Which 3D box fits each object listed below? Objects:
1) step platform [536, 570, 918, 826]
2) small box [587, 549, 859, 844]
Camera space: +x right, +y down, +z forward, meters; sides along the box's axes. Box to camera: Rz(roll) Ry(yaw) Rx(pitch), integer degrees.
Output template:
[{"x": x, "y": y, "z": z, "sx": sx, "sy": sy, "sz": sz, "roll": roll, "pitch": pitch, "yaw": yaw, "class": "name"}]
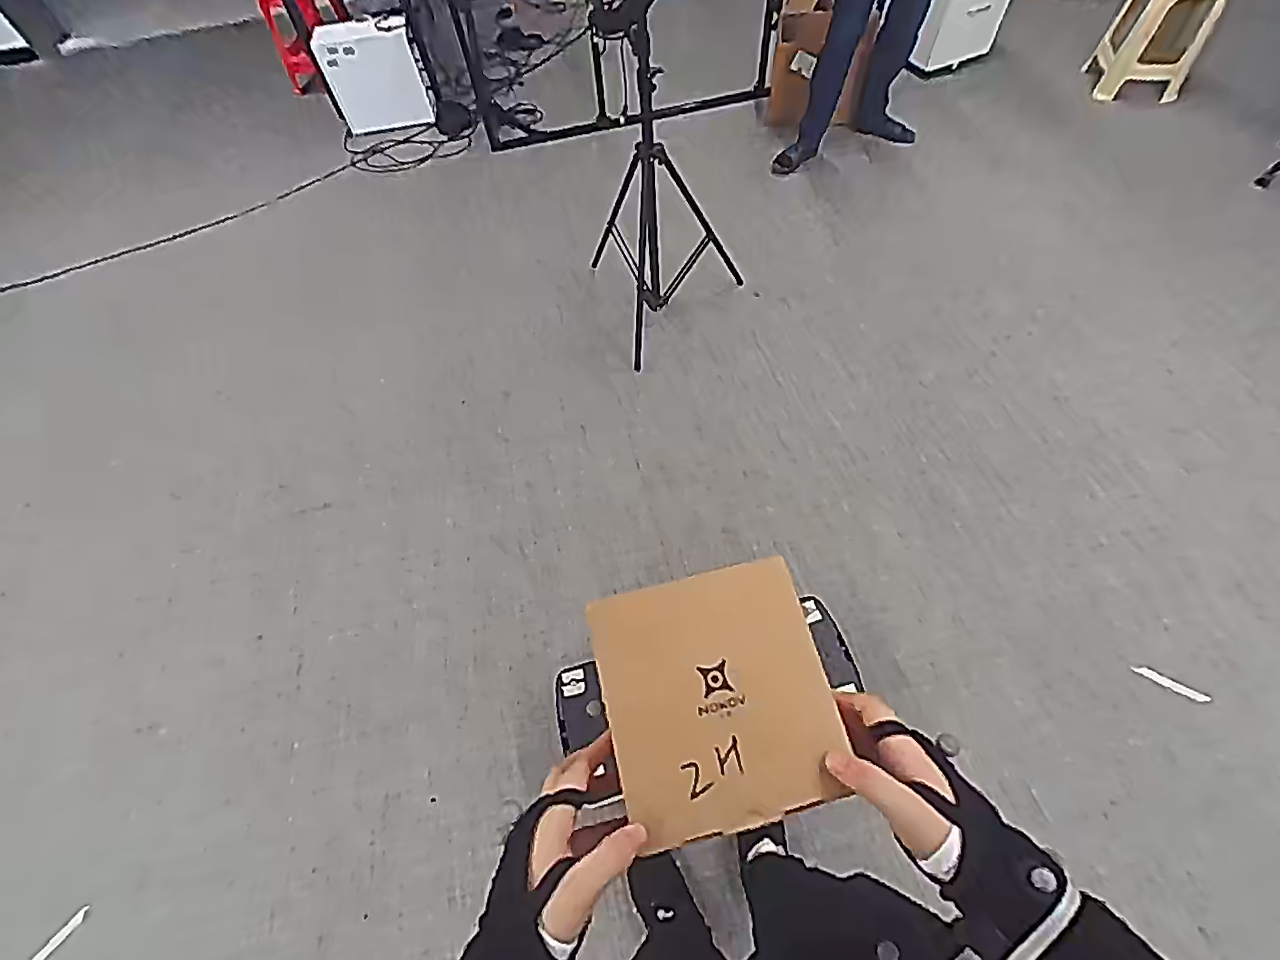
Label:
[{"x": 0.155, "y": 0.421, "z": 1.064, "sx": 0.684, "sy": 0.204, "sz": 0.286, "roll": -15, "pitch": 59, "yaw": -5, "class": "step platform"}, {"x": 0.053, "y": 0.180, "z": 0.471, "sx": 0.168, "sy": 0.176, "sz": 0.179, "roll": -13, "pitch": 68, "yaw": -6, "class": "small box"}]
